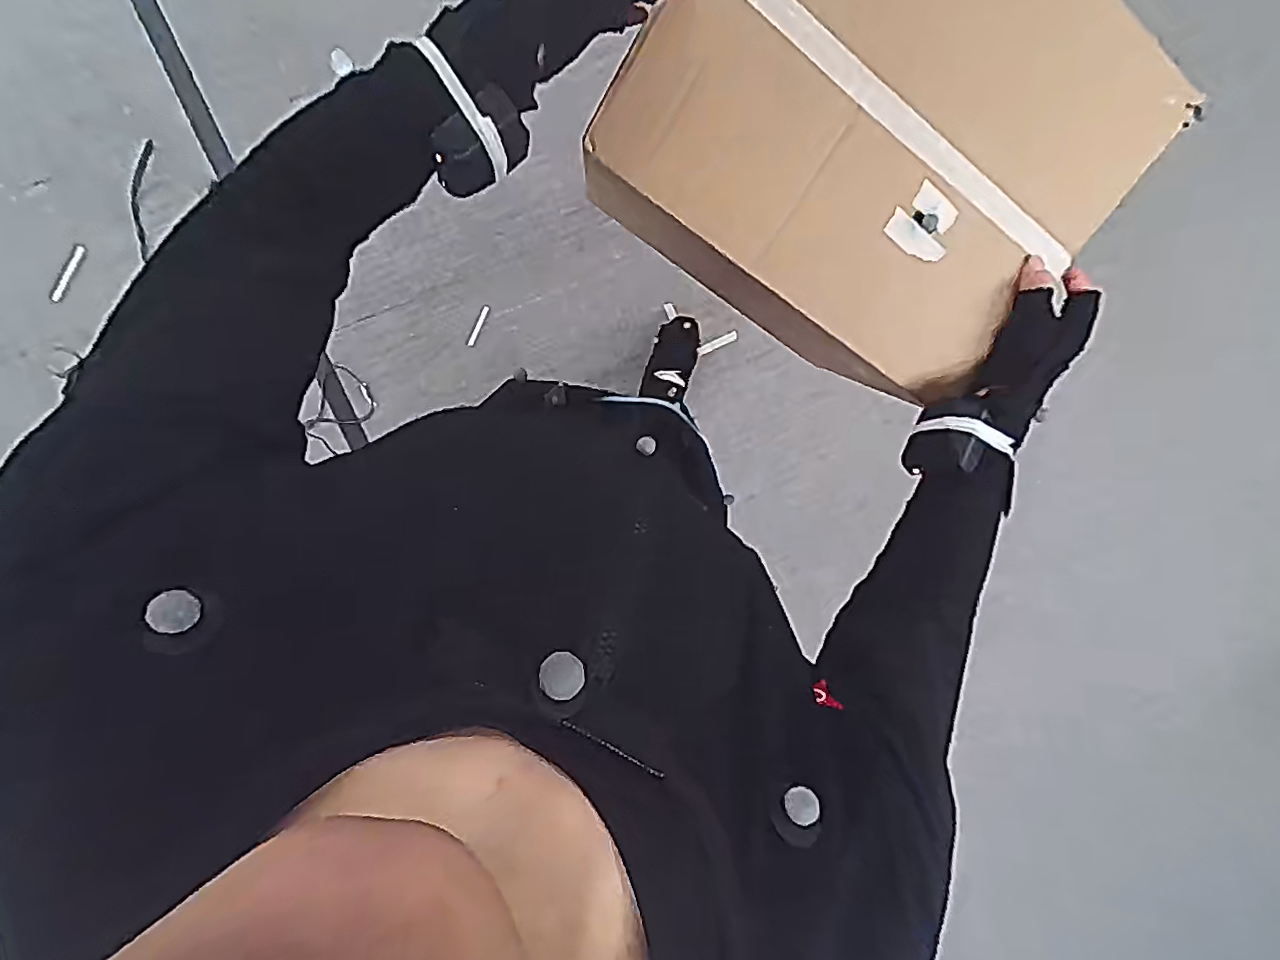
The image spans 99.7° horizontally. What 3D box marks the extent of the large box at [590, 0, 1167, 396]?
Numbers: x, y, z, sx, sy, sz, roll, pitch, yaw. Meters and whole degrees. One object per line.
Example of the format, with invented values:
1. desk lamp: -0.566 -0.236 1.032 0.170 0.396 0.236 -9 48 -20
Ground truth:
1. large box: 0.191 -0.349 0.587 0.408 0.320 0.320 30 107 -16
